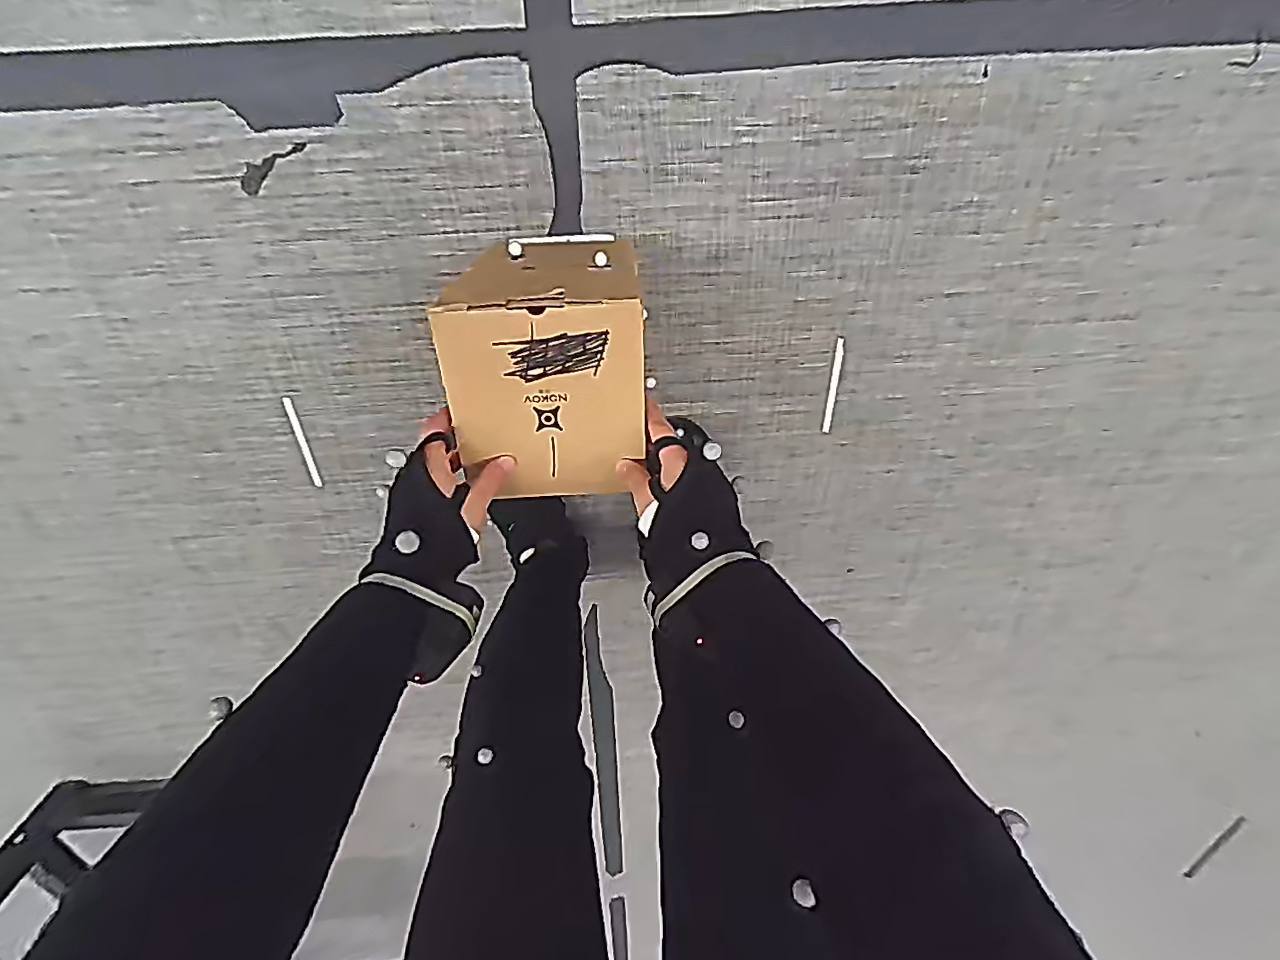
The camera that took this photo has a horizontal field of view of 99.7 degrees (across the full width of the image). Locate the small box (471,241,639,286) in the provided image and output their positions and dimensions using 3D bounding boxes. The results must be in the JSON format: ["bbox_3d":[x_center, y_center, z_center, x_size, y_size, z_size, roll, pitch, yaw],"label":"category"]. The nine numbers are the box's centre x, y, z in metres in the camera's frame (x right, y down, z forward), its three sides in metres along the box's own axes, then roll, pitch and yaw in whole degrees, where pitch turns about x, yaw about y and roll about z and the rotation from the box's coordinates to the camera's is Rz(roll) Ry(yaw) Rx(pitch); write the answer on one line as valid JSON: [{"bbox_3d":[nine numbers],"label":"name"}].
[{"bbox_3d":[-0.091,-0.193,0.665,0.179,0.176,0.168,-2,122,-3],"label":"small box"}]

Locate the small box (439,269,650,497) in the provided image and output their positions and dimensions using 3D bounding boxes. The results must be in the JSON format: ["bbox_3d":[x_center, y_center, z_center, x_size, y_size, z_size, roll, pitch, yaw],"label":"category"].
[{"bbox_3d":[-0.079,-0.103,0.528,0.168,0.176,0.179,-2,122,-3],"label":"small box"}]
